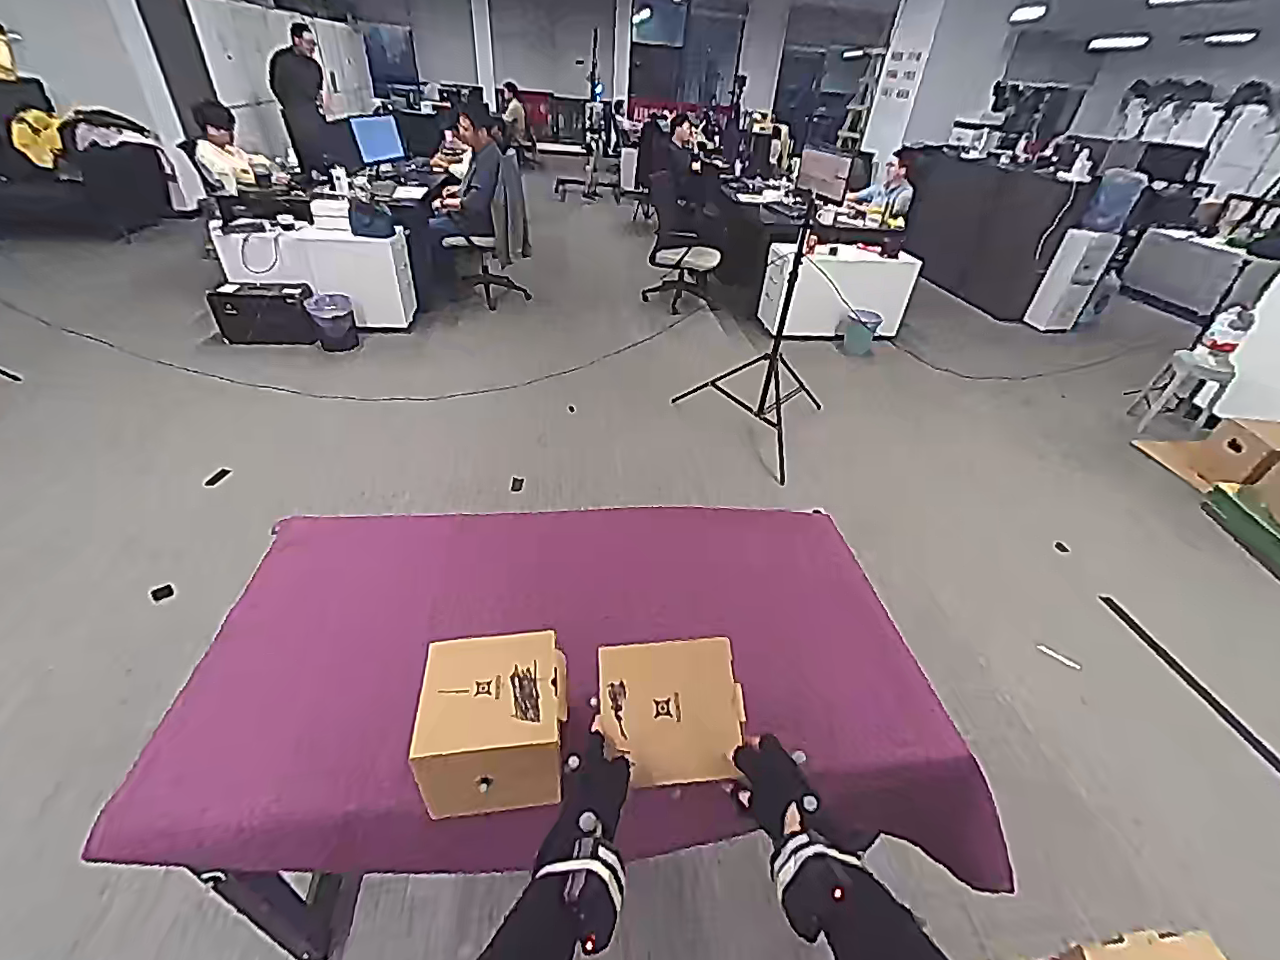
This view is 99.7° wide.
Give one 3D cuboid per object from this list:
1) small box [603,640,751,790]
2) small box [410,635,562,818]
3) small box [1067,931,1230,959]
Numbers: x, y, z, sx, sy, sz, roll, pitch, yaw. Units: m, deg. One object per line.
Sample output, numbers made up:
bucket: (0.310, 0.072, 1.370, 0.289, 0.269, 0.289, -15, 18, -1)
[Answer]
small box: (0.041, 0.327, 0.745, 0.179, 0.176, 0.168, -4, 59, -2)
small box: (-0.198, 0.340, 0.751, 0.179, 0.176, 0.168, -3, 36, -8)
small box: (0.585, 0.643, 0.602, 0.168, 0.176, 0.179, -2, 39, -6)
